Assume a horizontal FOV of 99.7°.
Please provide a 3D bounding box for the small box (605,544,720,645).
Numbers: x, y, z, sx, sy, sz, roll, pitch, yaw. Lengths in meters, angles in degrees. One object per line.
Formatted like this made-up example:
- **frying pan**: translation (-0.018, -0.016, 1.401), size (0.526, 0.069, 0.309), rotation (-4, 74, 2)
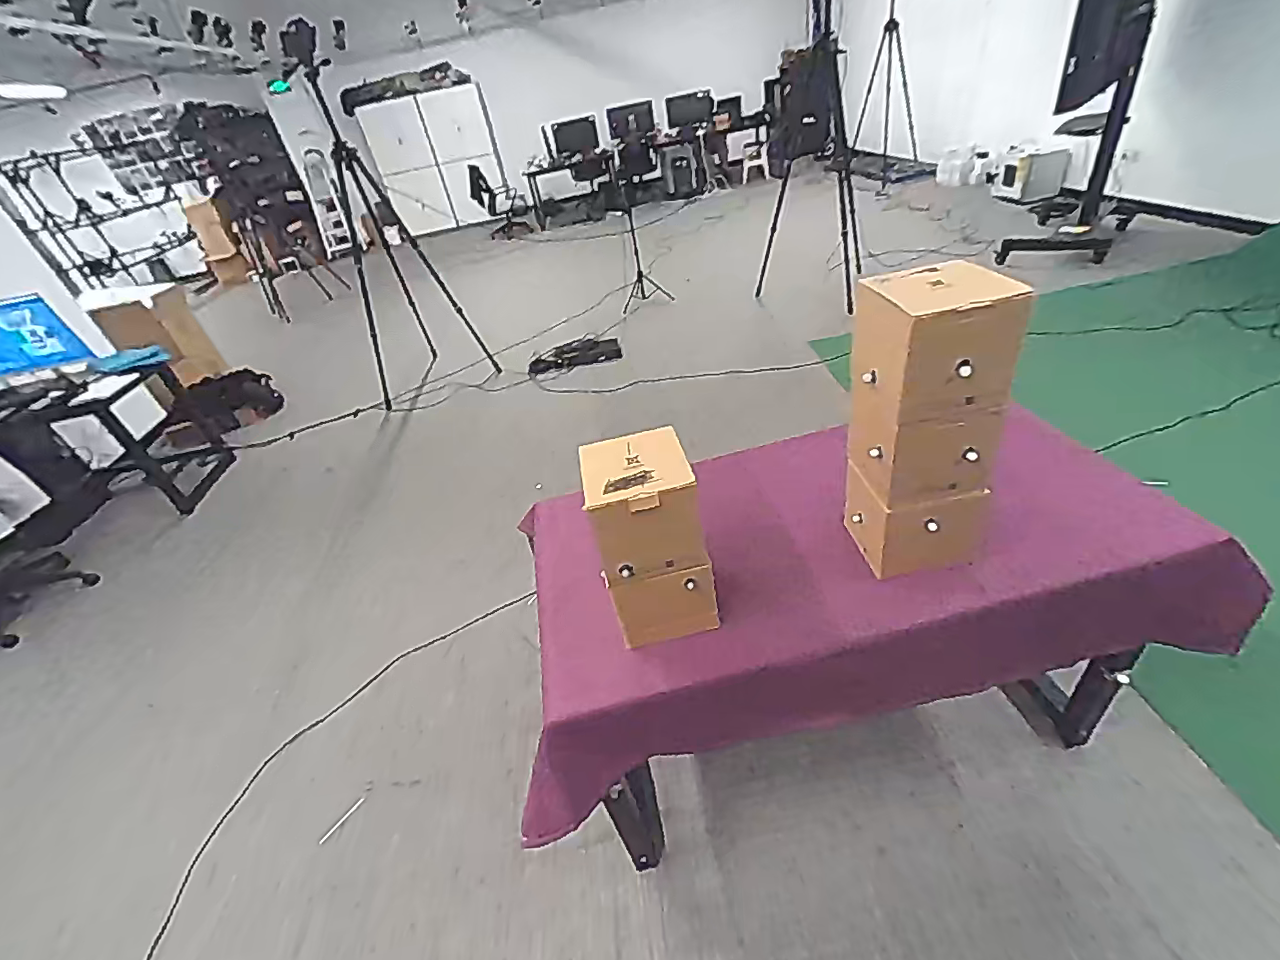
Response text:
- **small box**: translation (0.037, 0.174, 0.985), size (0.179, 0.176, 0.168), rotation (-13, 35, -1)

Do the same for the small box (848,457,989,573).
- **small box**: translation (0.498, 0.052, 0.996), size (0.179, 0.176, 0.168), rotation (-11, 37, 3)

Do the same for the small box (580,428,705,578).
- **small box**: translation (0.004, 0.043, 0.893), size (0.168, 0.176, 0.179), rotation (-14, 34, -1)

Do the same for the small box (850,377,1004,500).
- **small box**: translation (0.466, -0.082, 0.908), size (0.168, 0.176, 0.179), rotation (-11, 35, 3)

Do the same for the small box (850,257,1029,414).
- **small box**: translation (0.431, -0.211, 0.812), size (0.168, 0.176, 0.179), rotation (-11, 37, 2)
